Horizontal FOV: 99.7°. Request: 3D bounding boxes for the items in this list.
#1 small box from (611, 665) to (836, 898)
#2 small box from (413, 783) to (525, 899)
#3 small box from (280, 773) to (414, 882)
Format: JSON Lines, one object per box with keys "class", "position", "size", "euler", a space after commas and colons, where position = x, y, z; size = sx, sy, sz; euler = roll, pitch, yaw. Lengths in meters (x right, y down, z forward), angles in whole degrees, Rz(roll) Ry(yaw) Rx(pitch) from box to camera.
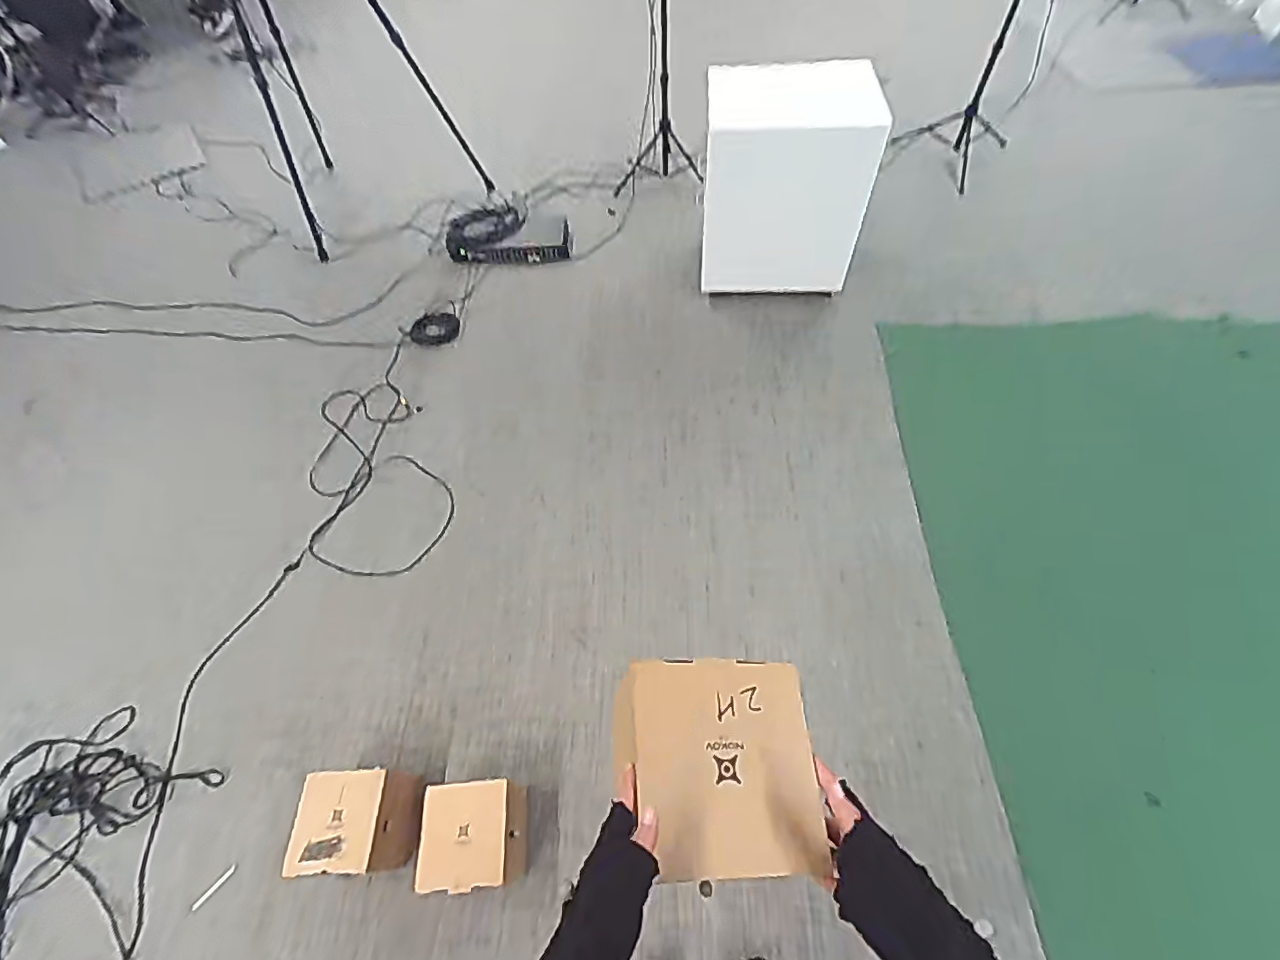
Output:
{"class": "small box", "position": [0.065, 0.297, 0.537], "size": [0.168, 0.176, 0.179], "euler": [5, 55, -10]}
{"class": "small box", "position": [-0.333, 0.722, 1.091], "size": [0.168, 0.176, 0.179], "euler": [-6, 58, 0]}
{"class": "small box", "position": [-0.587, 0.710, 1.111], "size": [0.168, 0.176, 0.179], "euler": [-3, 57, 1]}
